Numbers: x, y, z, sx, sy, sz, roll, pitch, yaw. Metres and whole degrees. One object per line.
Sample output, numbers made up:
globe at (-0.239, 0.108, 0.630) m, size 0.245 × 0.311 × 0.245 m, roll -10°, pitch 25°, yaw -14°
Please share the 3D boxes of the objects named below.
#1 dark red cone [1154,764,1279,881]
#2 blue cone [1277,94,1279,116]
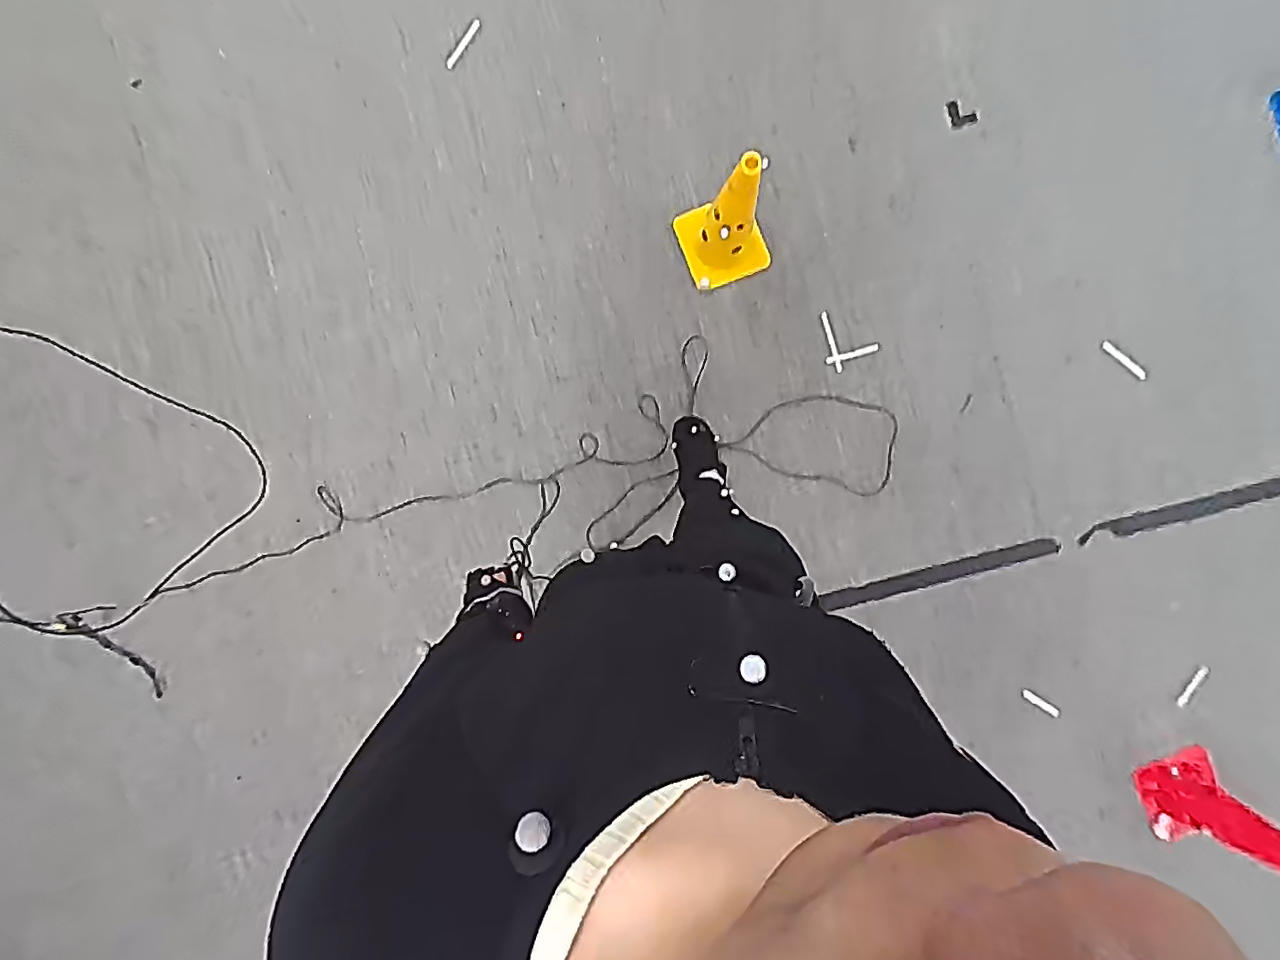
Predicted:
dark red cone at (1.390, 0.819, 1.173) m, size 0.202 × 0.394 × 0.201 m, roll -23°, pitch 89°, yaw 0°
blue cone at (1.712, -0.912, 1.196) m, size 0.193 × 0.380 × 0.192 m, roll -14°, pitch 89°, yaw -1°
